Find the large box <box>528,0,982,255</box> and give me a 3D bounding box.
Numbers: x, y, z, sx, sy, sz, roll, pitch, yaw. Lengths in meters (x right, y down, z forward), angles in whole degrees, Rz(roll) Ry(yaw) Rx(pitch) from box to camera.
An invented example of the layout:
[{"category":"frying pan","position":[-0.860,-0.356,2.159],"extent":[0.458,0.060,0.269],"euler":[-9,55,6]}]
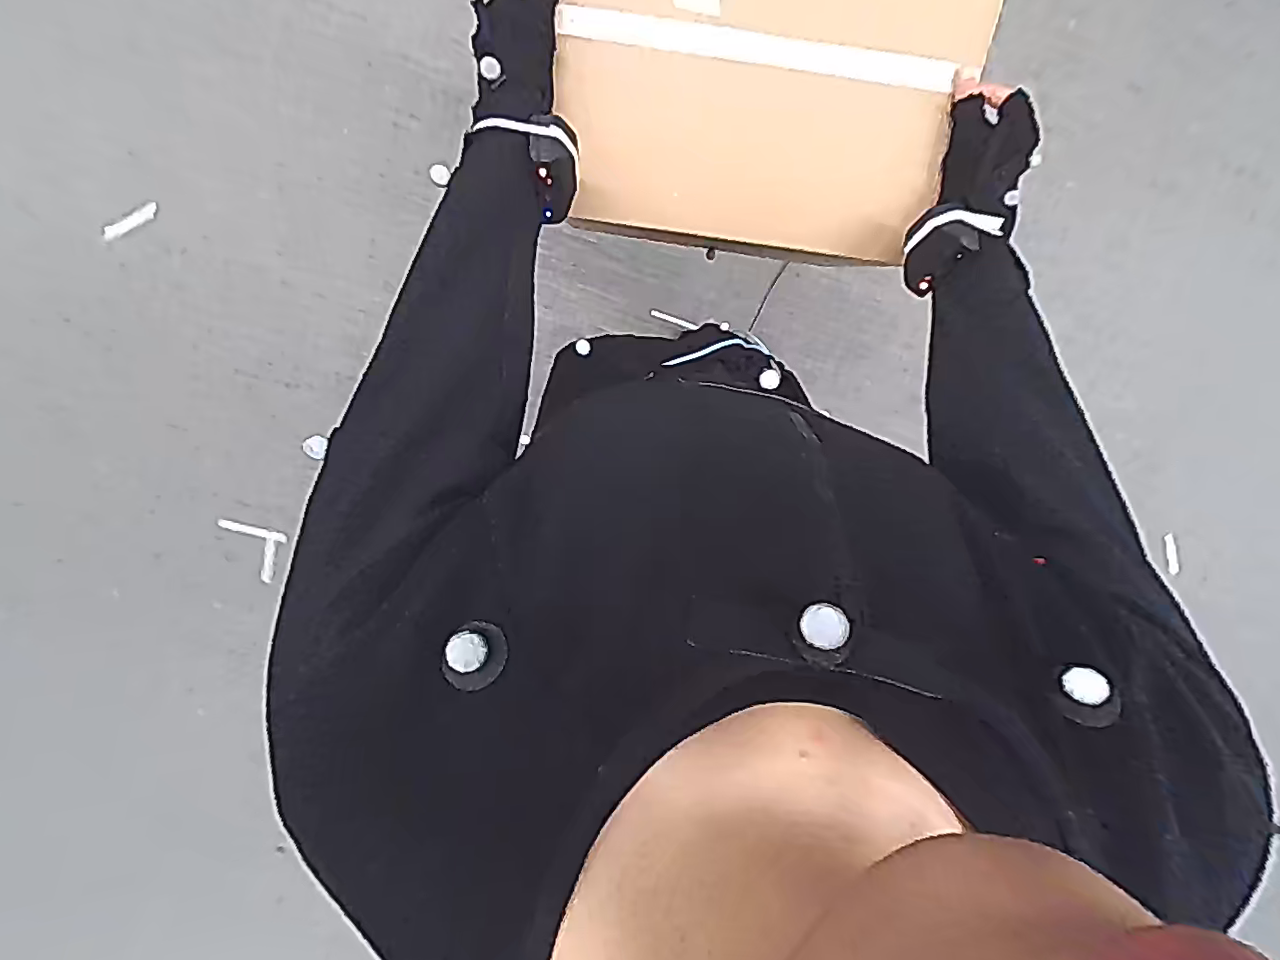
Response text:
[{"category":"large box","position":[0.106,-0.452,0.636],"extent":[0.408,0.320,0.320],"euler":[8,111,-1]}]
